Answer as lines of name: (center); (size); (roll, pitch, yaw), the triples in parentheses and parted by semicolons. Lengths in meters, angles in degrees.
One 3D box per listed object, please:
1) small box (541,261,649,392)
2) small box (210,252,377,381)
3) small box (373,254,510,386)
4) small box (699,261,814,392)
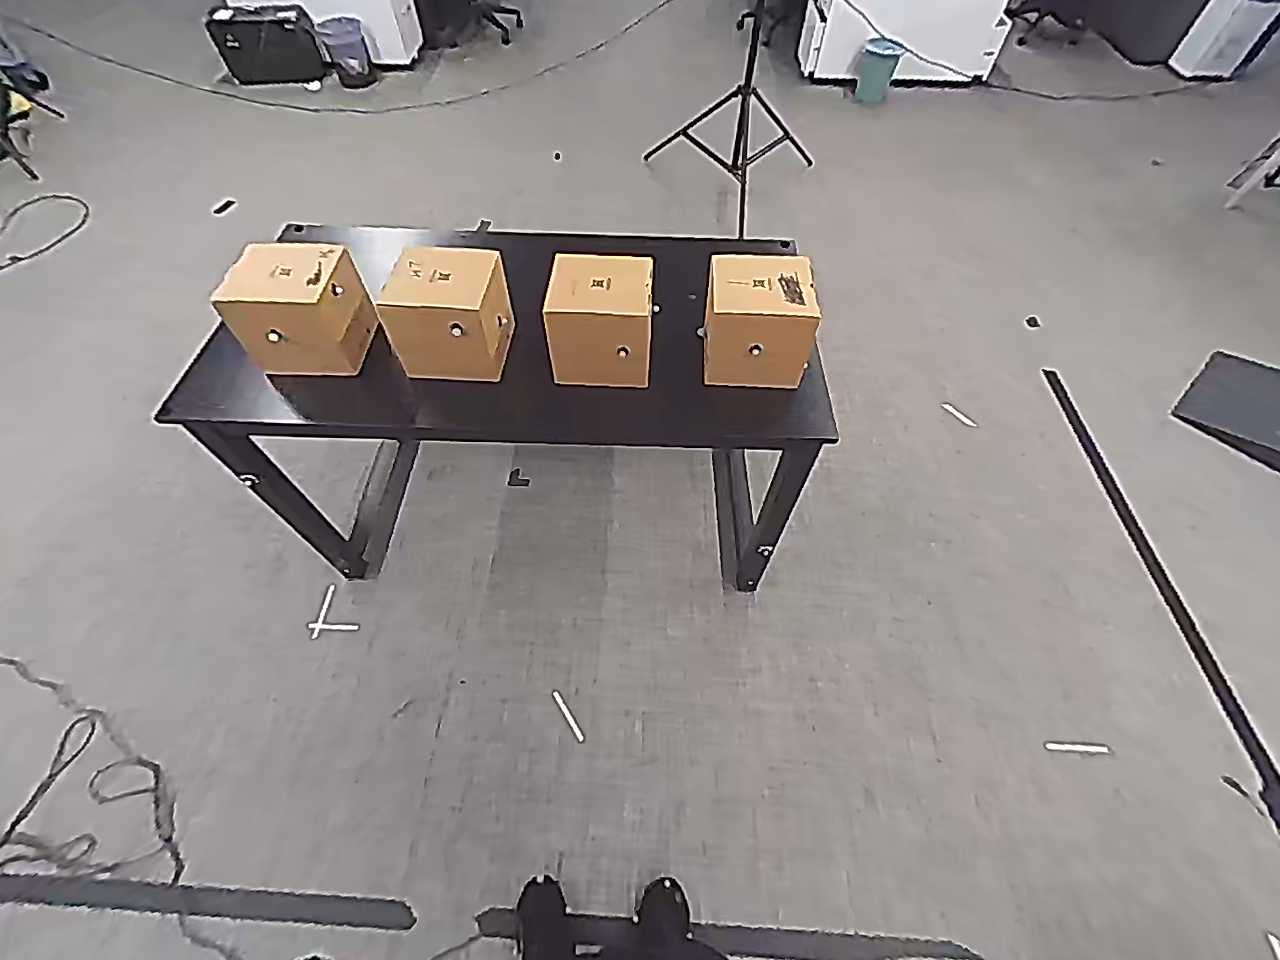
small box: (-0.075, -0.276, 0.991); (0.179, 0.176, 0.168); (1, 54, 0)
small box: (-0.621, -0.298, 0.997); (0.179, 0.176, 0.168); (0, 55, -1)
small box: (-0.349, -0.290, 0.995); (0.179, 0.176, 0.168); (3, 55, 1)
small box: (0.204, -0.278, 0.993); (0.179, 0.176, 0.168); (2, 55, 3)
